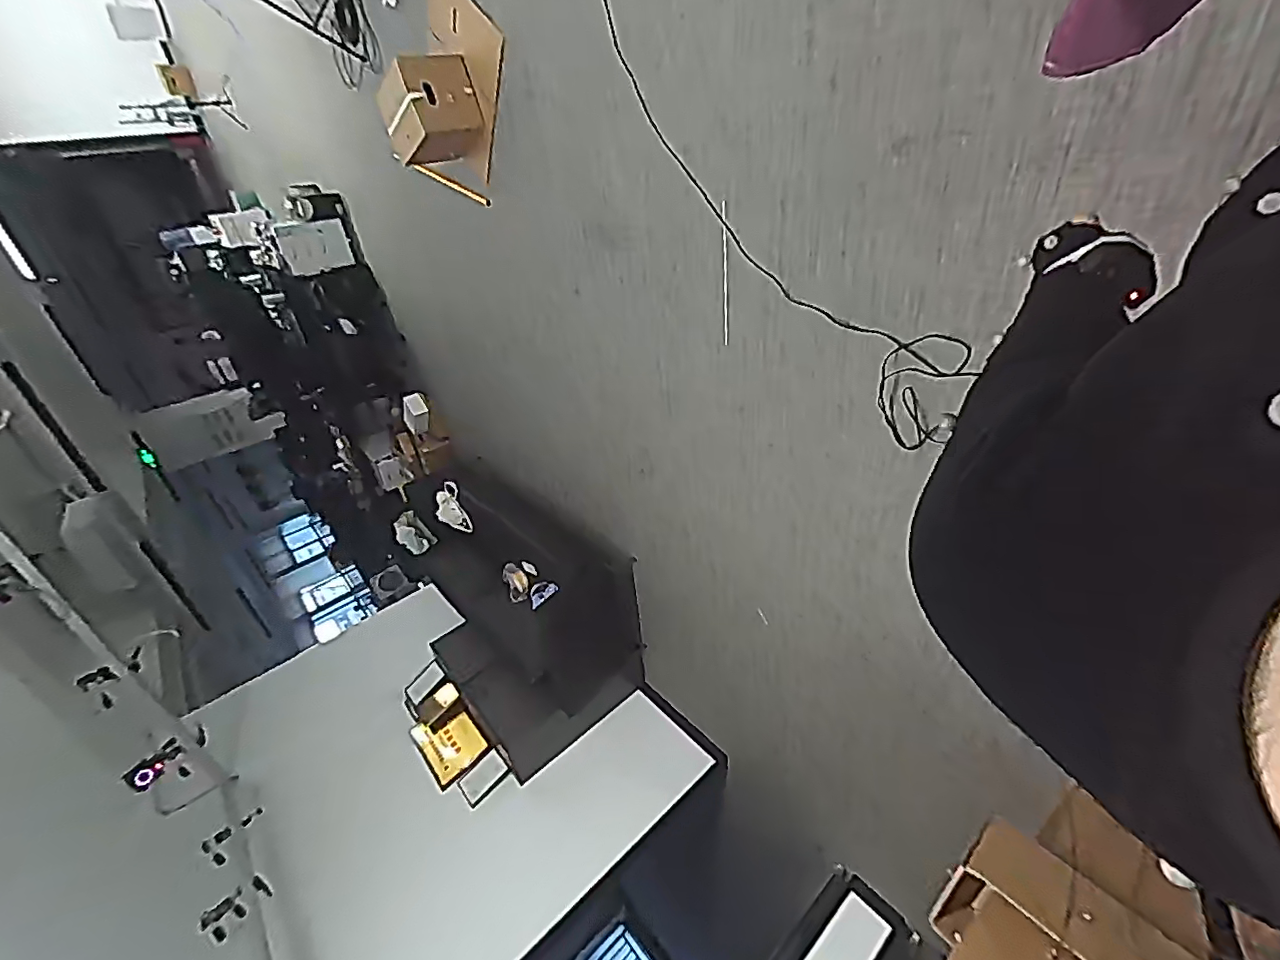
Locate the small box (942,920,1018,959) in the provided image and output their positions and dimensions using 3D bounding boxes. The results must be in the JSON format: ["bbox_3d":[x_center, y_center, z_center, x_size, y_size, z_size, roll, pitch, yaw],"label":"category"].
[{"bbox_3d":[0.809,1.192,1.259,0.179,0.176,0.168,34,139,39],"label":"small box"}]
